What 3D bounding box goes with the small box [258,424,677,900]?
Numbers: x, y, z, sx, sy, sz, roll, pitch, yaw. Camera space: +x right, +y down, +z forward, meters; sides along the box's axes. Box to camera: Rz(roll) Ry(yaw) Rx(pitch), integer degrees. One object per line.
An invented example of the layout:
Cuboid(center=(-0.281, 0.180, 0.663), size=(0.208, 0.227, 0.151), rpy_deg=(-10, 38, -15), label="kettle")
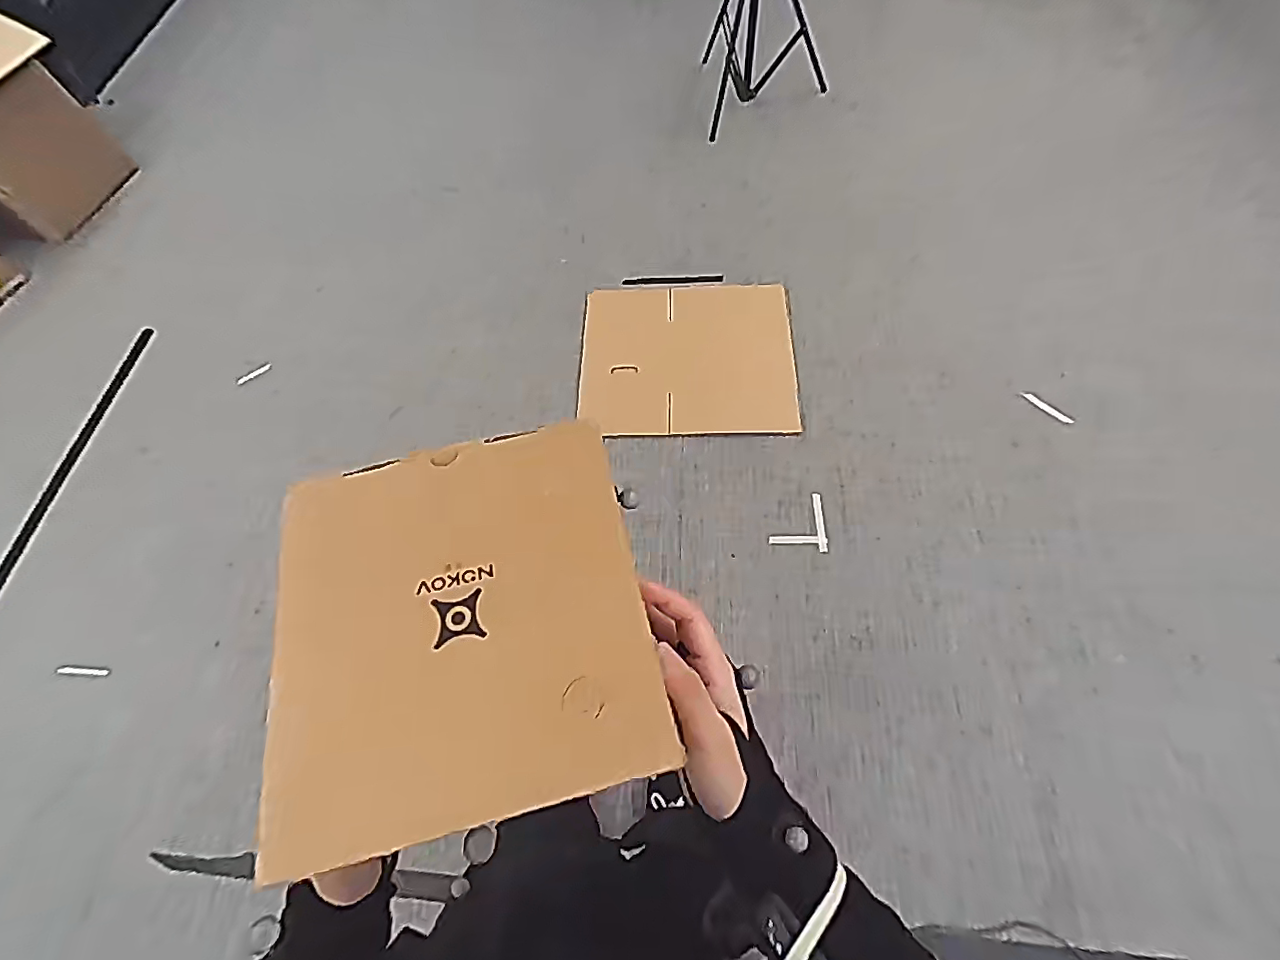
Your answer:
Cuboid(center=(-0.079, 0.099, 0.313), size=(0.168, 0.176, 0.179), rpy_deg=(-14, 62, -5), label="small box")
